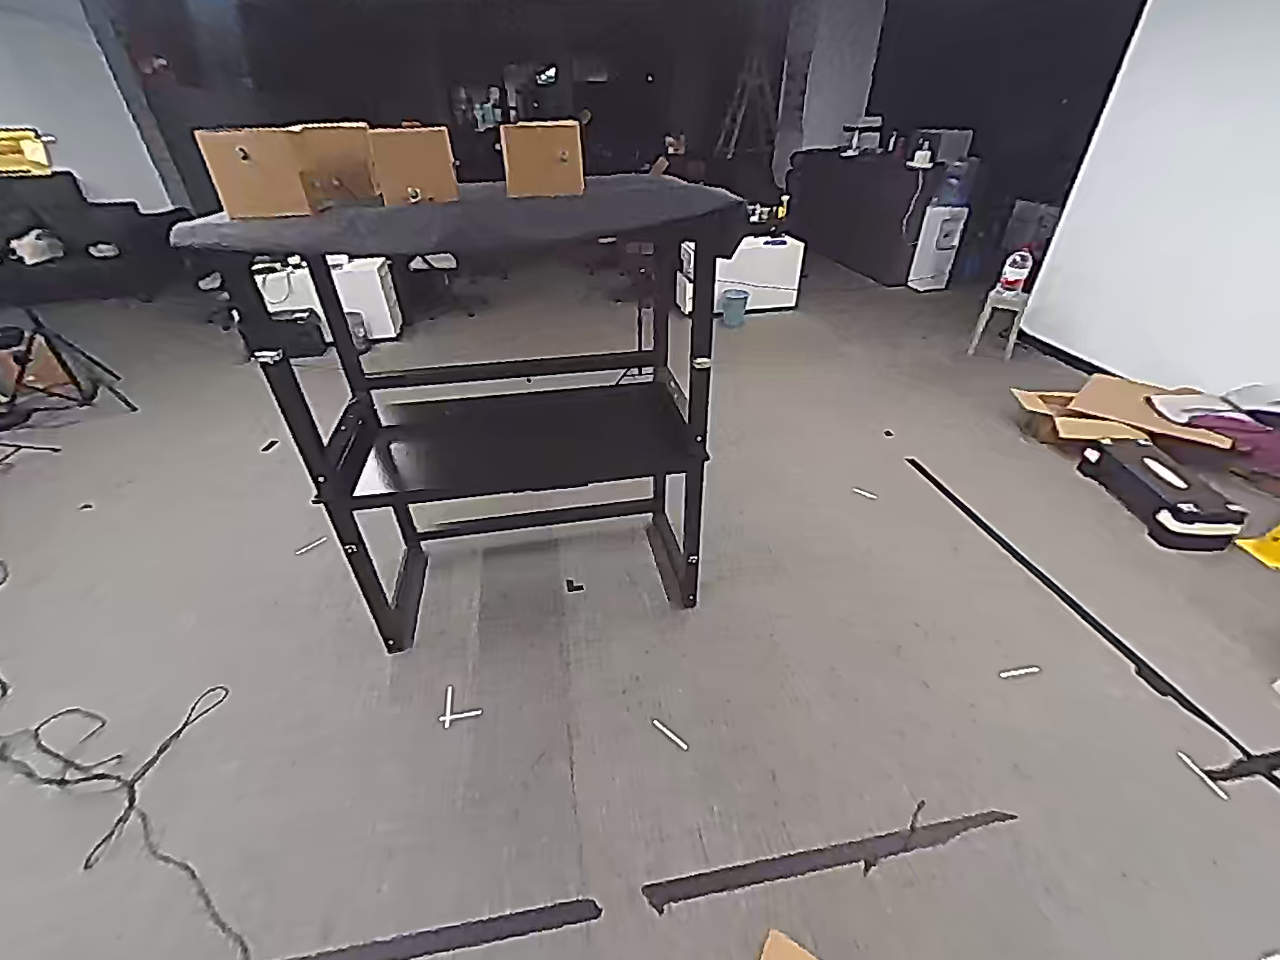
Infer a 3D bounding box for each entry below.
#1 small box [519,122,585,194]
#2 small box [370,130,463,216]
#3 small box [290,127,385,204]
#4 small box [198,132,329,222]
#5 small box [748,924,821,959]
[{"bbox_3d":[-0.258,-0.943,1.586,0.168,0.176,0.179,-8,36,-9],"label":"small box"},{"bbox_3d":[-0.527,-0.738,1.298,0.168,0.176,0.179,-10,35,-11],"label":"small box"},{"bbox_3d":[-0.823,-0.869,1.492,0.179,0.176,0.168,-7,36,-11],"label":"small box"},{"bbox_3d":[-0.852,-0.699,1.246,0.179,0.176,0.168,-8,35,-12],"label":"small box"},{"bbox_3d":[0.160,0.633,0.555,0.168,0.176,0.179,22,29,22],"label":"small box"}]
